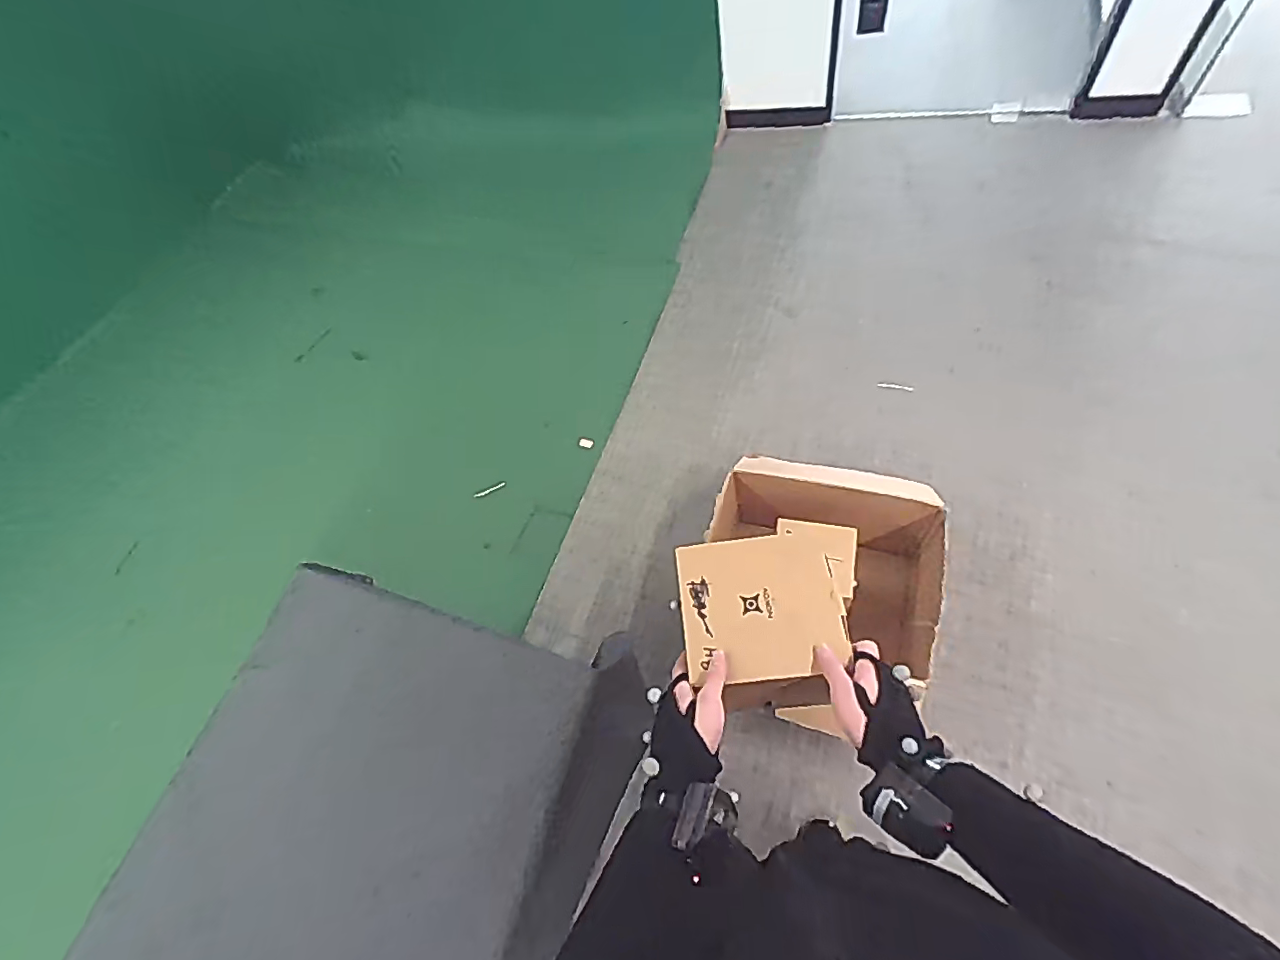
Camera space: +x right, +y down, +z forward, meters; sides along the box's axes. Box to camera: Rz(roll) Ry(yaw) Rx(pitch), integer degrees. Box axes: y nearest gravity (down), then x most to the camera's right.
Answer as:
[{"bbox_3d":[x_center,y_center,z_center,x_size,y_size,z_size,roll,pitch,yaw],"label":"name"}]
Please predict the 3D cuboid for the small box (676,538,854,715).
[{"bbox_3d":[0.145,0.191,0.685,0.179,0.176,0.168,-9,57,4],"label":"small box"}]
